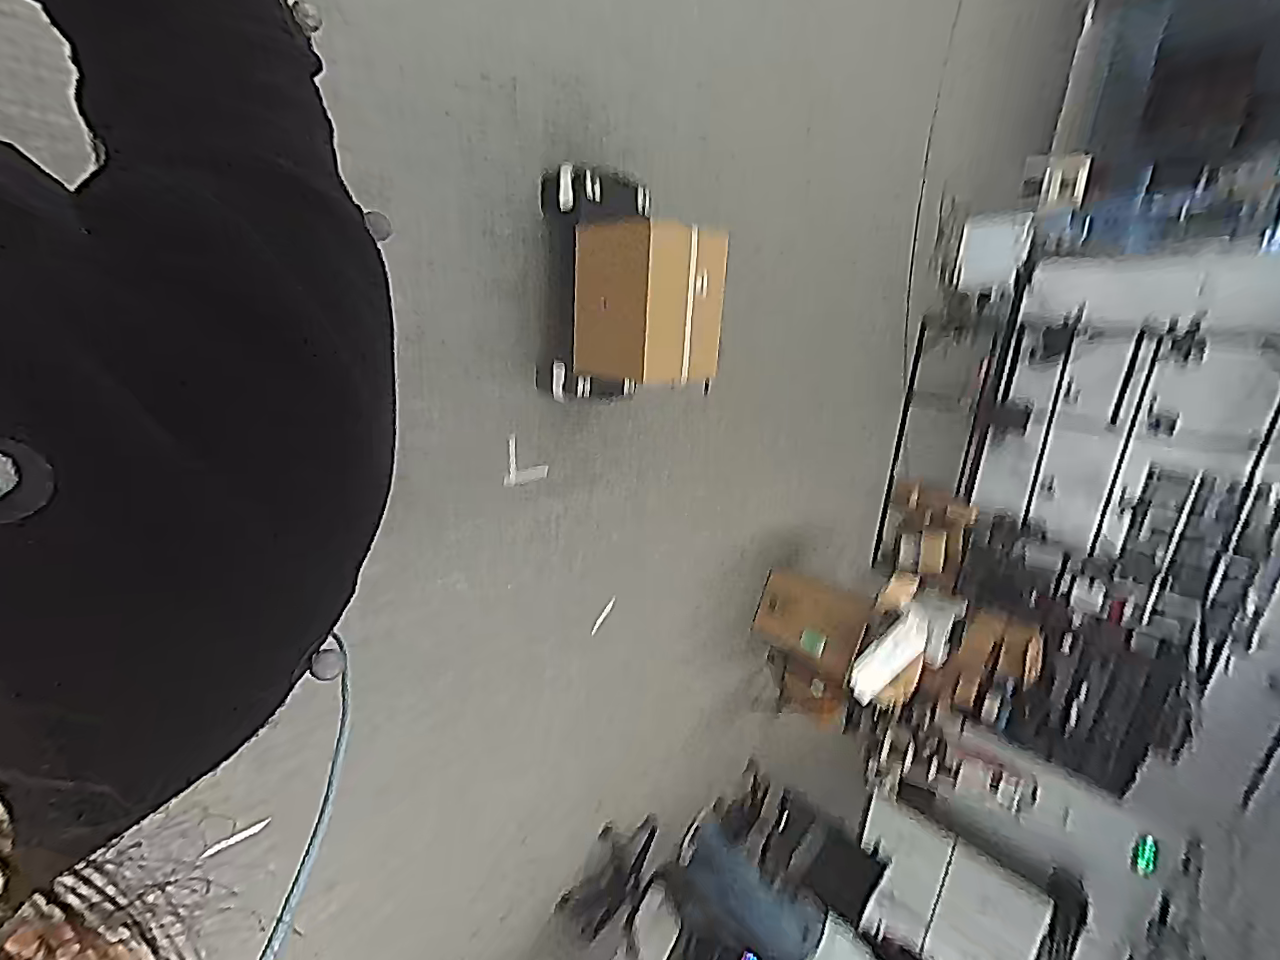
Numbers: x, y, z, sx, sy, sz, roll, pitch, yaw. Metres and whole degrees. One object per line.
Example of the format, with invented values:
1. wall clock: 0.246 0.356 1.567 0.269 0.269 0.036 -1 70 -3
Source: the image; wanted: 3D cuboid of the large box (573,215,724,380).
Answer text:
1. large box: 0.018 -0.516 1.566 0.320 0.320 0.408 -15 114 -43
